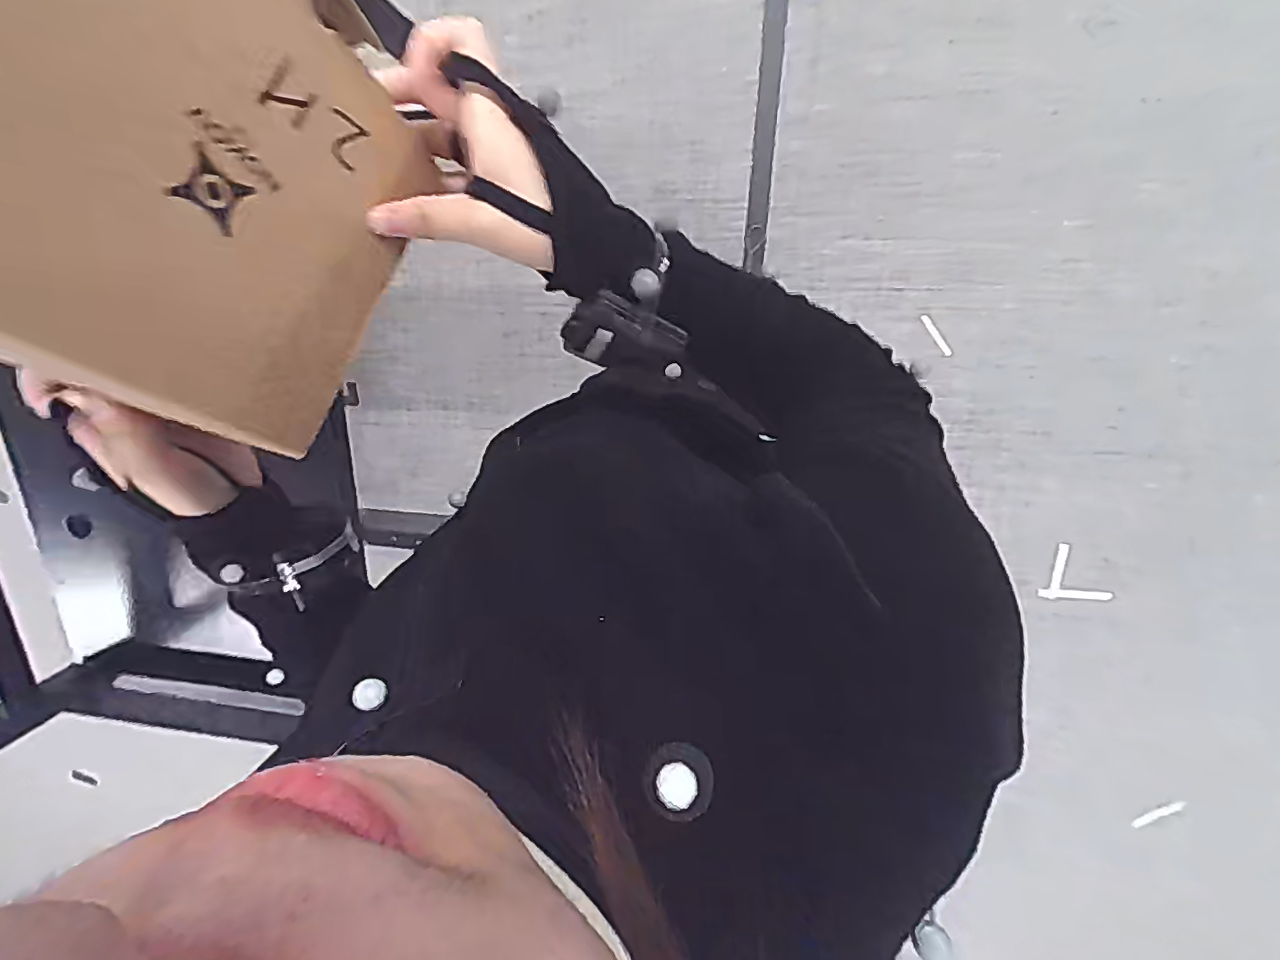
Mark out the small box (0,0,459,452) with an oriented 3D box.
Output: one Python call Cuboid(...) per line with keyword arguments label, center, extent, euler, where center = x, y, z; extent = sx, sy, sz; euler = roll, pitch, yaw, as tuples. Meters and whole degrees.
Cuboid(label="small box", center=(-0.220, -0.137, 0.228), extent=(0.176, 0.168, 0.179), euler=(16, 76, 19))
